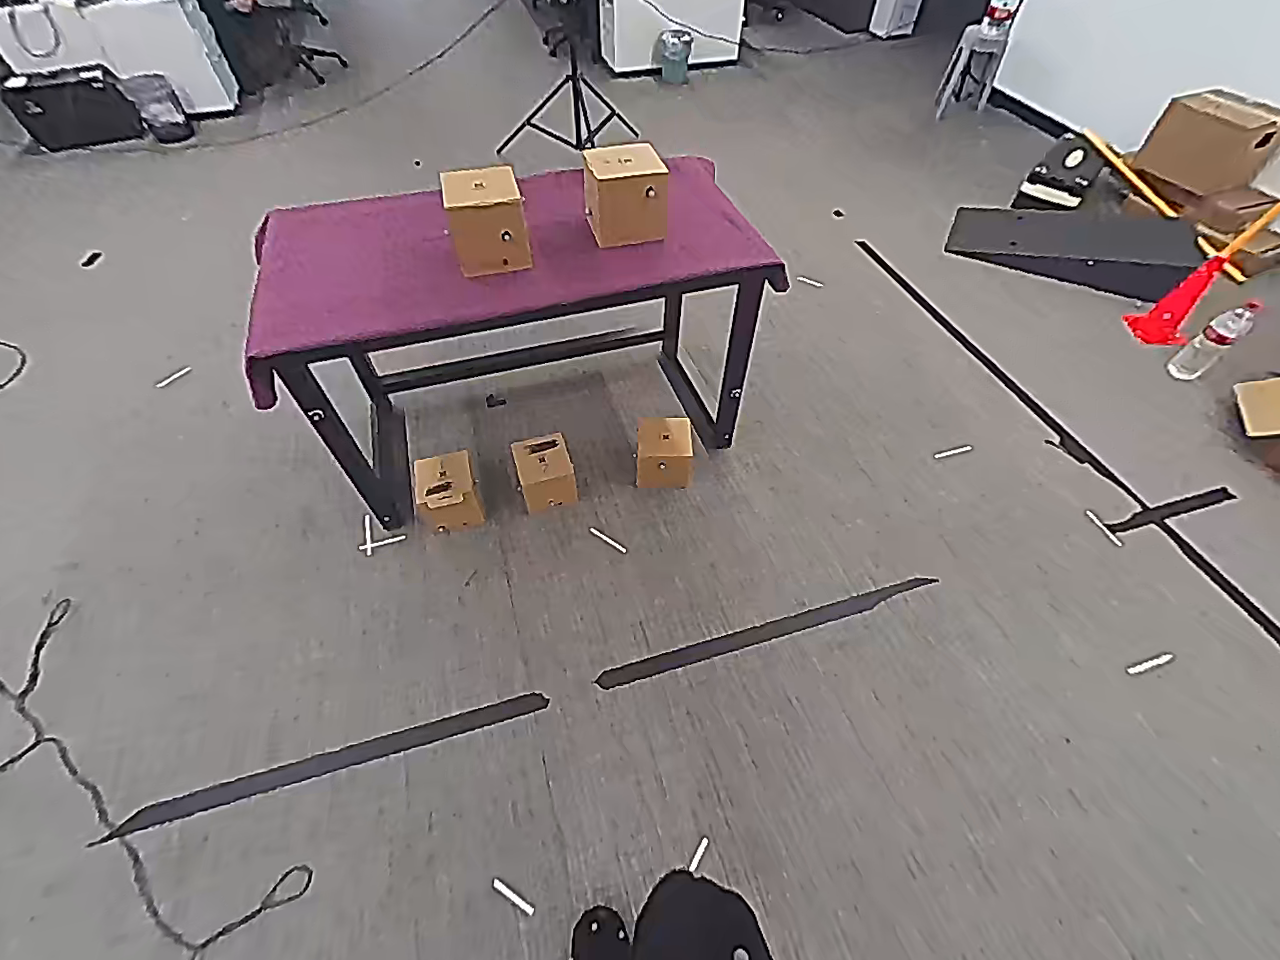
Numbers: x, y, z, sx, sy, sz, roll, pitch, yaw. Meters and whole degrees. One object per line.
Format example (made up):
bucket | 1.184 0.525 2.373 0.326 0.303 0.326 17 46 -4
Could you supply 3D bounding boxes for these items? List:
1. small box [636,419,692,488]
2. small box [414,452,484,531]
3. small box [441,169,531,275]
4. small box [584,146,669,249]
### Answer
small box | 0.076 -0.085 1.804 0.179 0.176 0.168 -1 54 0
small box | -0.595 0.043 1.696 0.168 0.176 0.179 -13 53 -11
small box | -0.359 -0.600 1.271 0.168 0.176 0.179 -12 52 -11
small box | -0.036 -0.704 1.352 0.179 0.176 0.168 -13 54 -10
